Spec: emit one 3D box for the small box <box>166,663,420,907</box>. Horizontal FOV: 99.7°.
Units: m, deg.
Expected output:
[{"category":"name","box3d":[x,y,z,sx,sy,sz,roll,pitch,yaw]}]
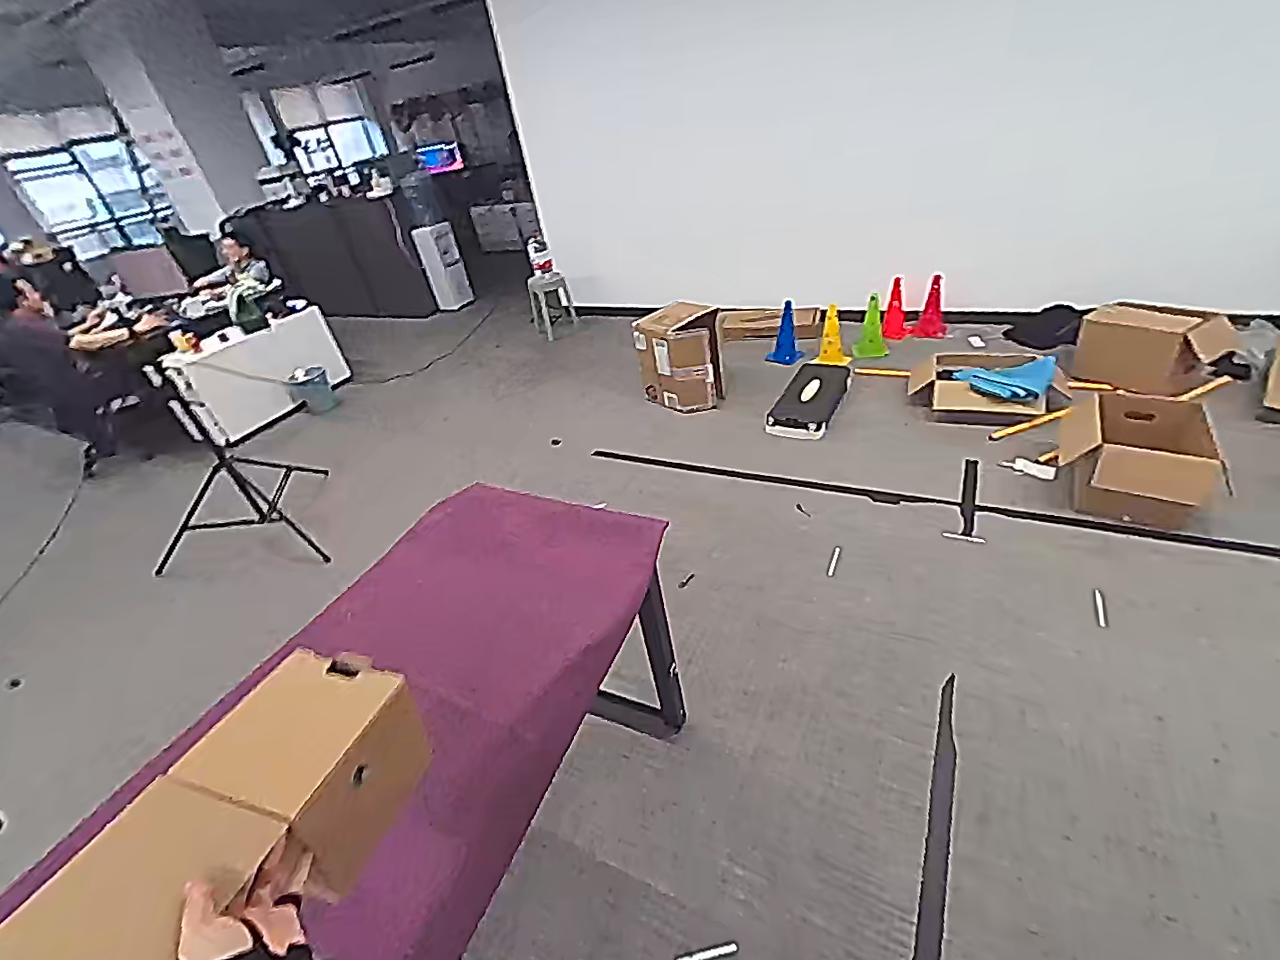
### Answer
[{"category":"small box","box3d":[-0.389,0.358,0.645,0.168,0.176,0.179,8,29,13]}]
